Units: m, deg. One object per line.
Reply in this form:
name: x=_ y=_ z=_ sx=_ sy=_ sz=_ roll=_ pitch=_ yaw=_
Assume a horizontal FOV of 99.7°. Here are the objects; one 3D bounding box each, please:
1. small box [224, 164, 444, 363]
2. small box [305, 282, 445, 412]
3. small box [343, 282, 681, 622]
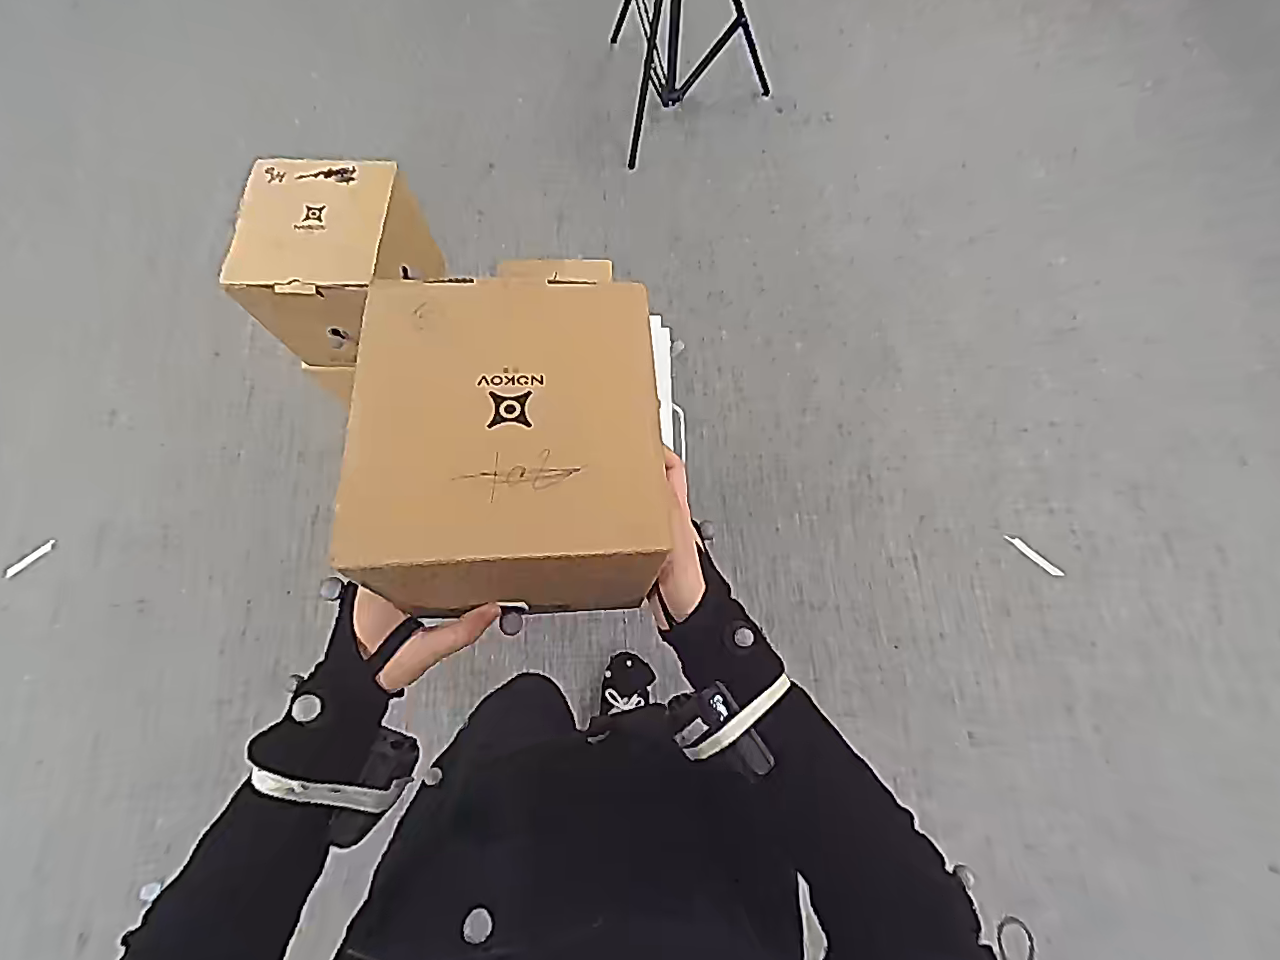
small box: x=-0.358 y=-0.255 z=0.672 sx=0.168 sy=0.176 sz=0.179 roll=1 pitch=73 yaw=0
small box: x=-0.366 y=-0.197 z=0.825 sx=0.168 sy=0.176 sz=0.179 roll=2 pitch=72 yaw=0
small box: x=-0.075 y=-0.009 z=0.370 sx=0.168 sy=0.176 sz=0.179 roll=-3 pitch=67 yaw=-7
